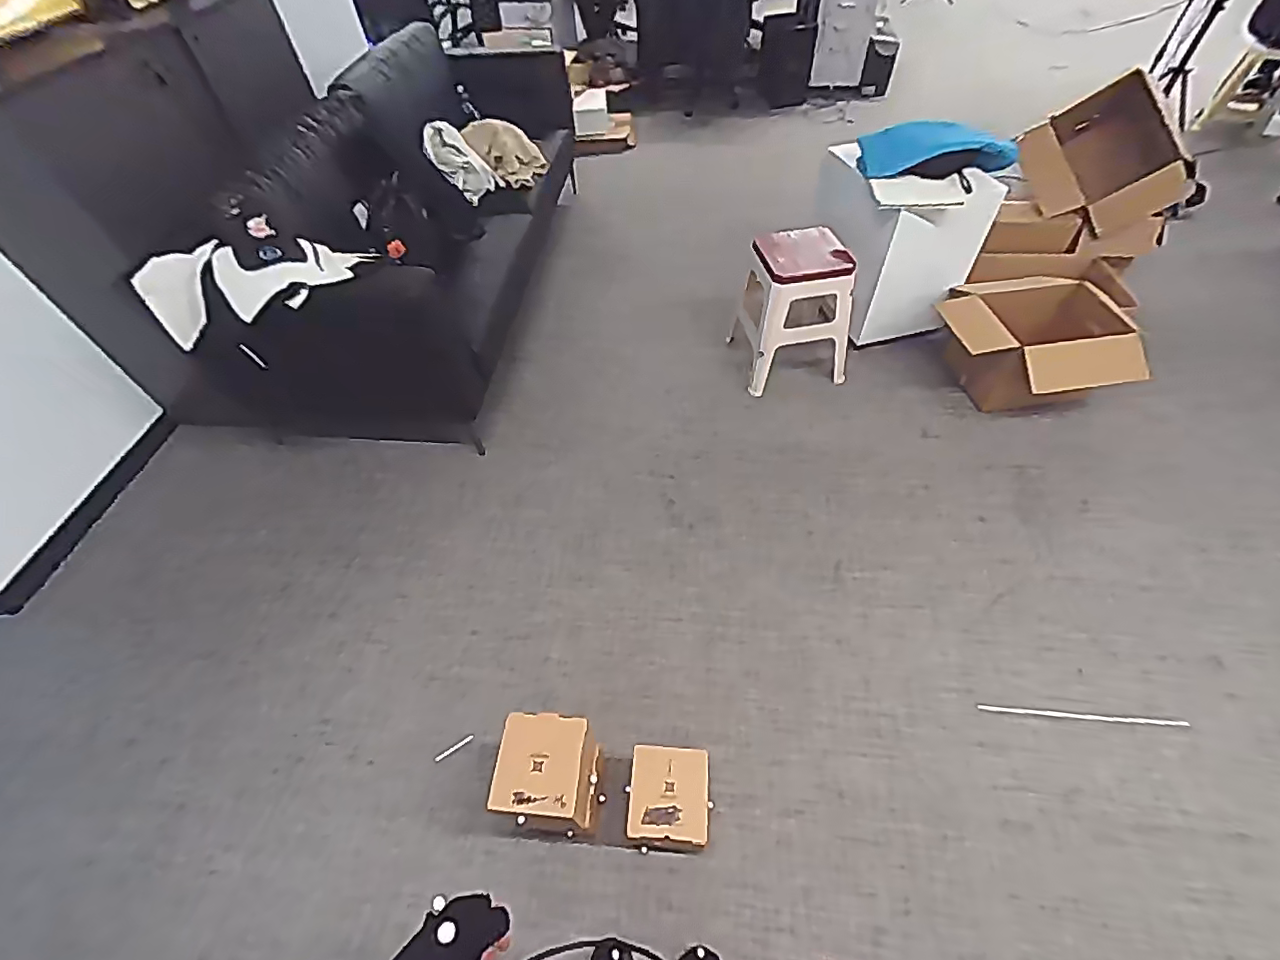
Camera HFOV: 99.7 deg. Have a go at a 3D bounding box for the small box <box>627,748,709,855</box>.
[{"bbox_3d":[0.067,0.715,1.197,0.168,0.176,0.179,3,50,5],"label":"small box"}]

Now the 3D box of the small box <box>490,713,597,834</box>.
[{"bbox_3d":[-0.185,0.598,1.100,0.168,0.176,0.179,3,50,6],"label":"small box"}]
